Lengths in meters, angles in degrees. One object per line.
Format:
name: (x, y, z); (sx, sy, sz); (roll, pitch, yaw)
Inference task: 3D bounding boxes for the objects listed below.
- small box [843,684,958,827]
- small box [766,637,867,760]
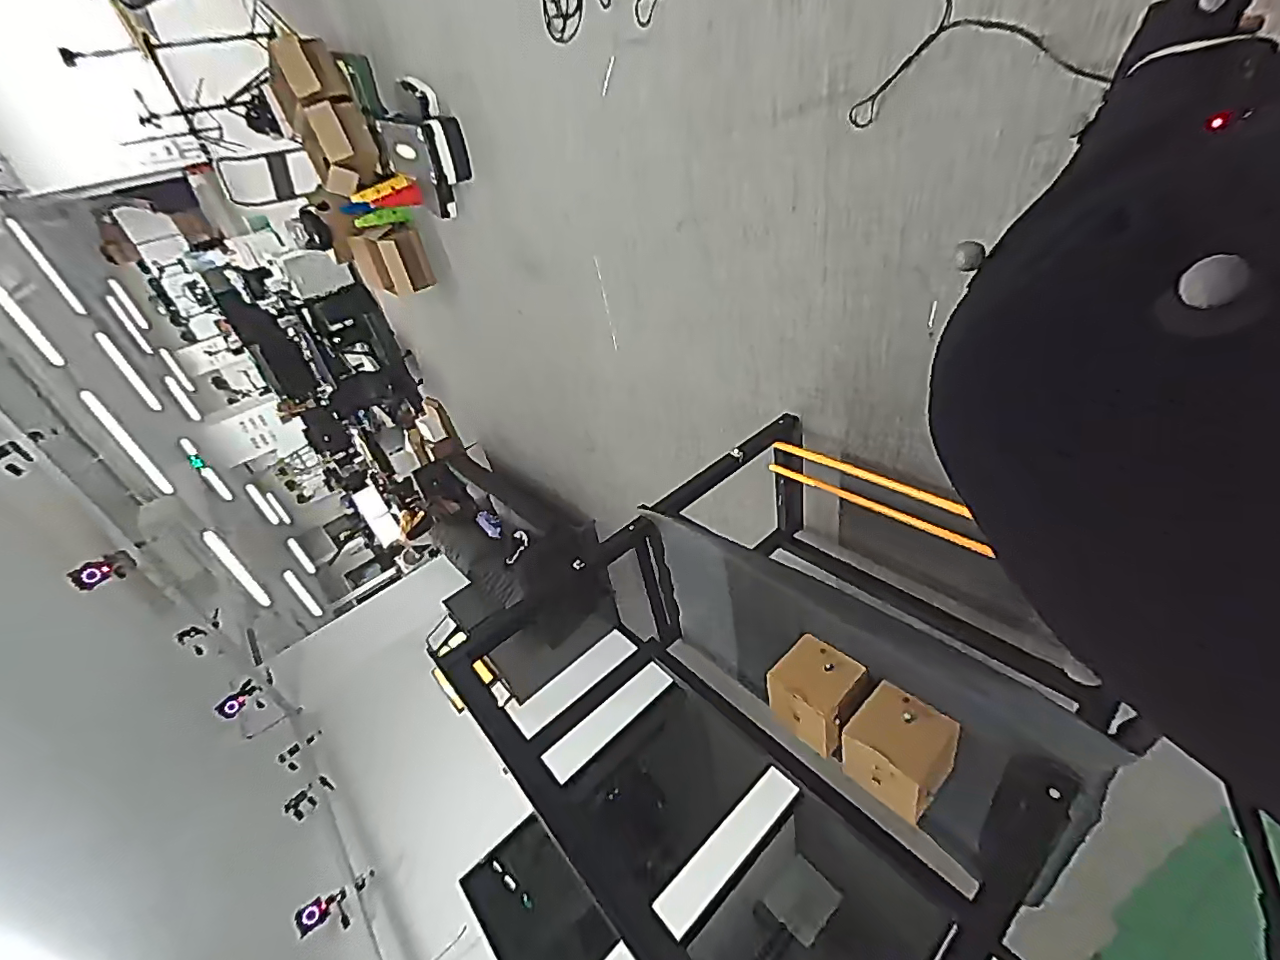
small box: (0.556, 0.583, 1.160); (0.168, 0.176, 0.179); (25, 139, 45)
small box: (0.430, 0.520, 1.307); (0.168, 0.176, 0.179); (25, 139, 45)
